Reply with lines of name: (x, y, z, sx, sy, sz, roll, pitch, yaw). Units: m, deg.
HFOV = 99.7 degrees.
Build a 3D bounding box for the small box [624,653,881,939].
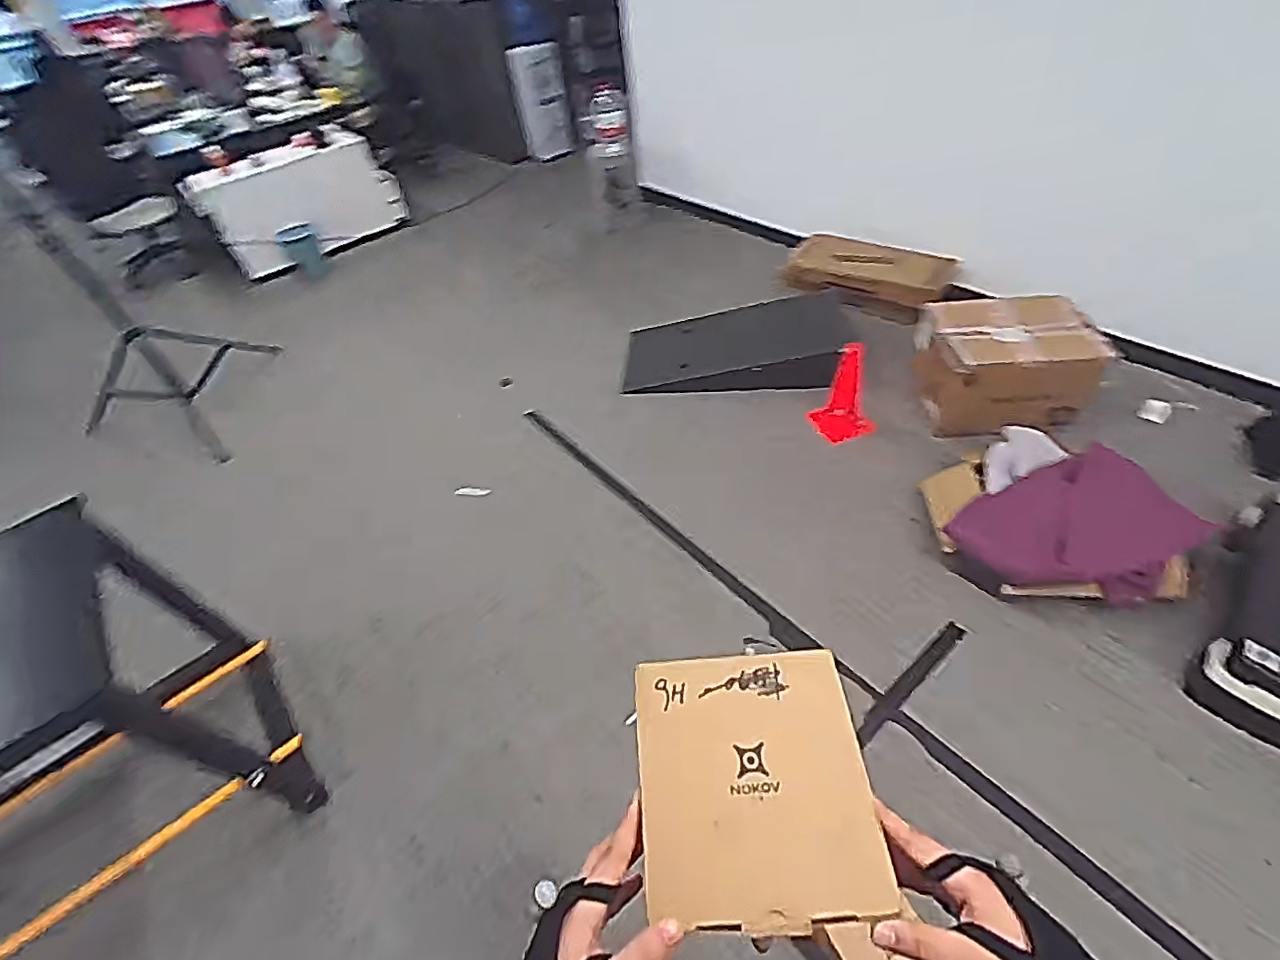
small box: (0.079, 0.268, 0.468, 0.168, 0.176, 0.179, -6, 53, 0)
